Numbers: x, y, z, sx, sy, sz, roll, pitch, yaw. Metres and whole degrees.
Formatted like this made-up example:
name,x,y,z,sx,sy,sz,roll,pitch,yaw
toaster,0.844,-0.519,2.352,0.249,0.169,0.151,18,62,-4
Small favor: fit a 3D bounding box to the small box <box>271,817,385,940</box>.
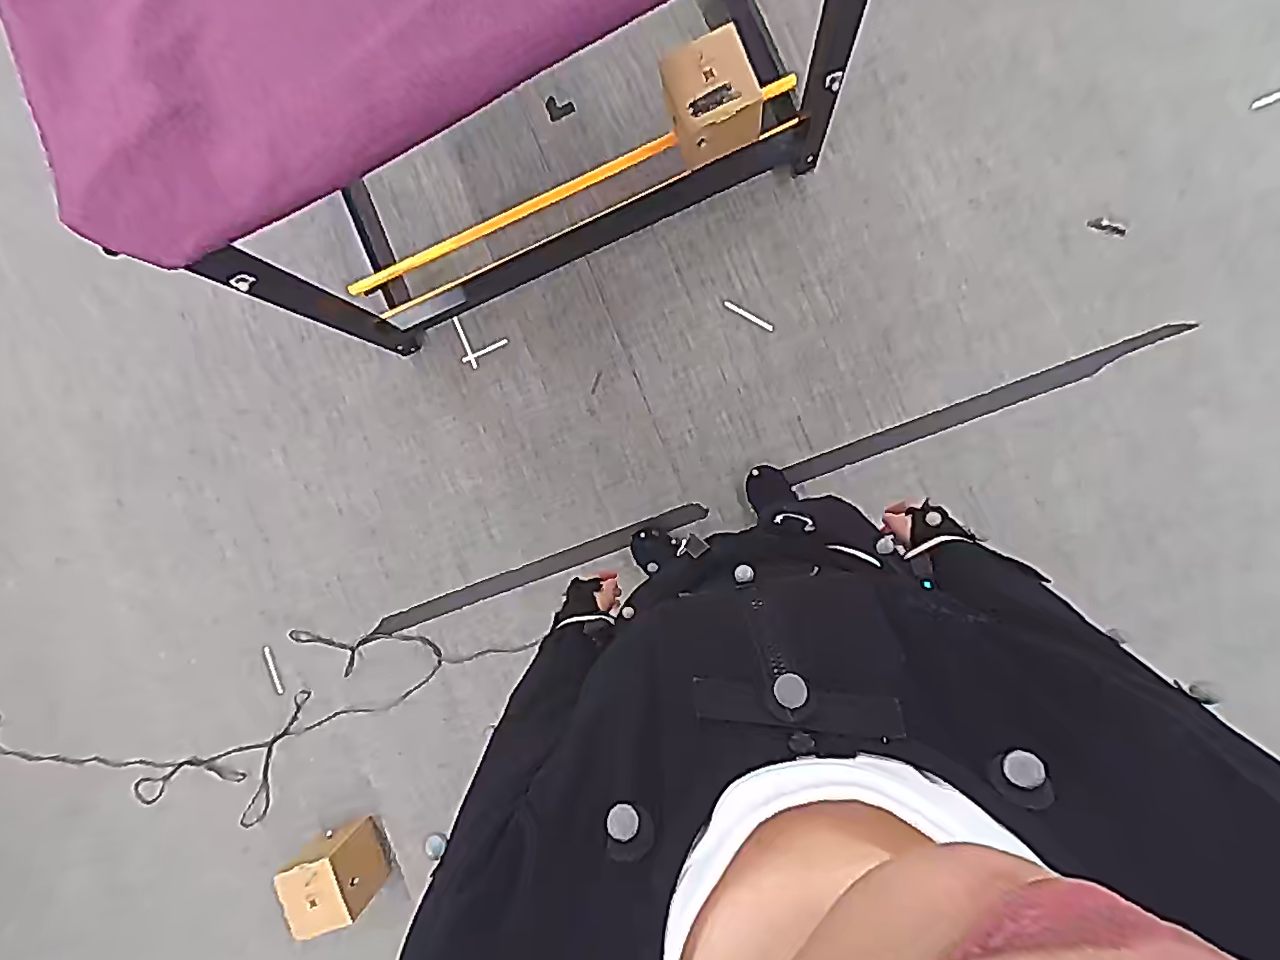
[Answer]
name,x,y,z,sx,sy,sz,roll,pitch,yaw
small box,-0.805,1.033,1.412,0.168,0.176,0.179,-22,88,6
